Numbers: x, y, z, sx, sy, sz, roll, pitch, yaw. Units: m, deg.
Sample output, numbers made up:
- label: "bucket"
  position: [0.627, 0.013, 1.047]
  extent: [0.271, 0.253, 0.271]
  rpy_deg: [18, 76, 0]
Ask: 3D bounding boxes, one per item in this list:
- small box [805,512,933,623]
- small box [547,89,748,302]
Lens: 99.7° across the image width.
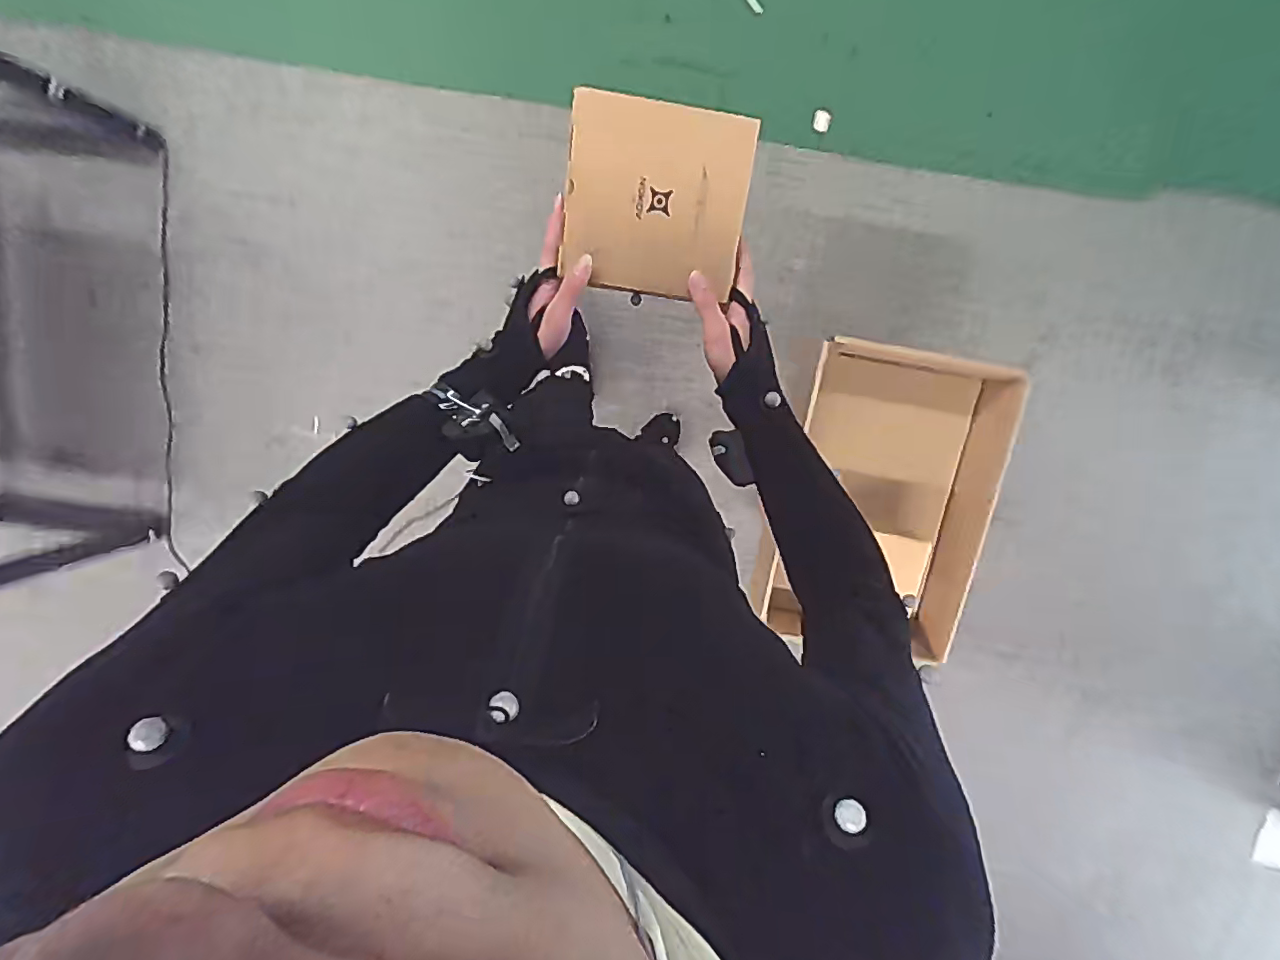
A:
- label: "small box"
  position: [0.467, 0.175, 1.132]
  extent: [0.179, 0.176, 0.168]
  rpy_deg: [12, 101, 1]
- label: "small box"
  position: [0.002, -0.290, 0.592]
  extent: [0.179, 0.176, 0.168]
  rpy_deg: [6, 107, -5]
